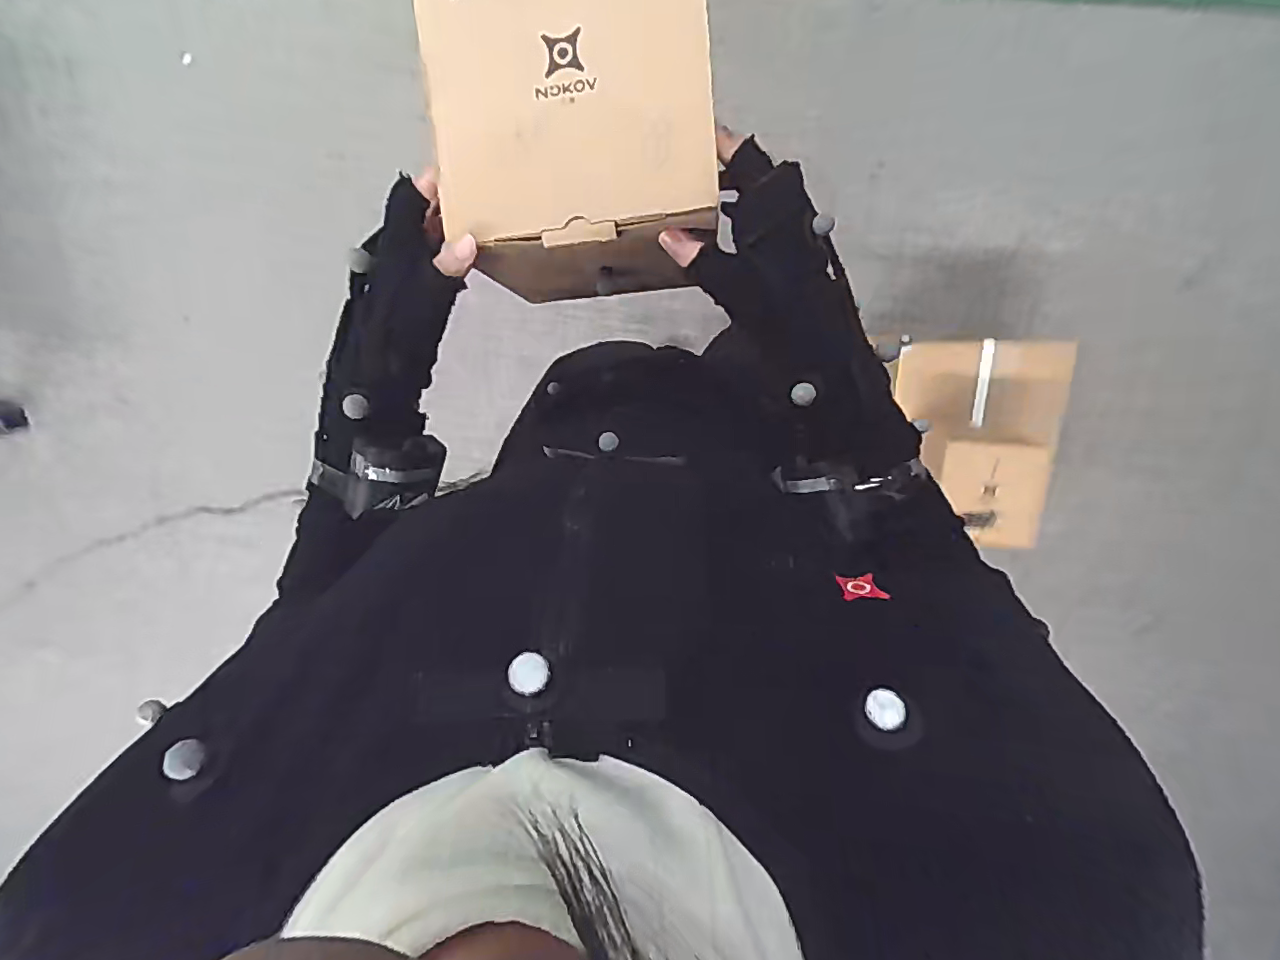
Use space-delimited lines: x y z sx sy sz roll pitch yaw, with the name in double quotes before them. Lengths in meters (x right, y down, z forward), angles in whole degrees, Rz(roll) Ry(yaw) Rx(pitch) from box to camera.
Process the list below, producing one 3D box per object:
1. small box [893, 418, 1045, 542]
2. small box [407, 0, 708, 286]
"small box" 0.583 -0.006 0.988 0.168 0.176 0.179 6 107 4
"small box" -0.040 -0.248 0.391 0.168 0.176 0.179 -5 97 8
